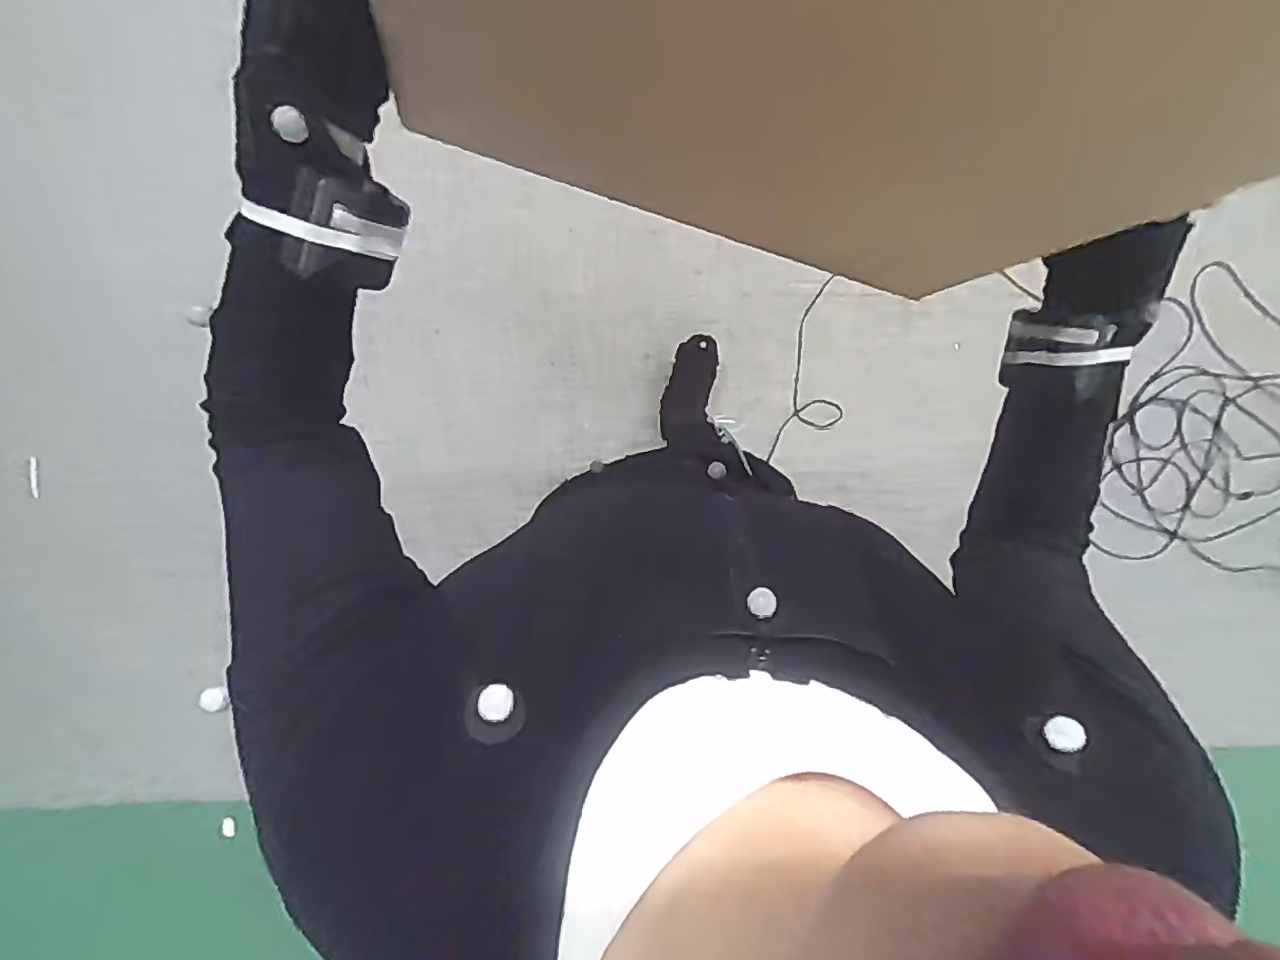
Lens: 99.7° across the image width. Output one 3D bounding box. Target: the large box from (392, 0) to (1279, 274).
[{"bbox_3d":[0.111,-0.338,0.247,0.408,0.320,0.320,10,91,-18],"label":"large box"}]
